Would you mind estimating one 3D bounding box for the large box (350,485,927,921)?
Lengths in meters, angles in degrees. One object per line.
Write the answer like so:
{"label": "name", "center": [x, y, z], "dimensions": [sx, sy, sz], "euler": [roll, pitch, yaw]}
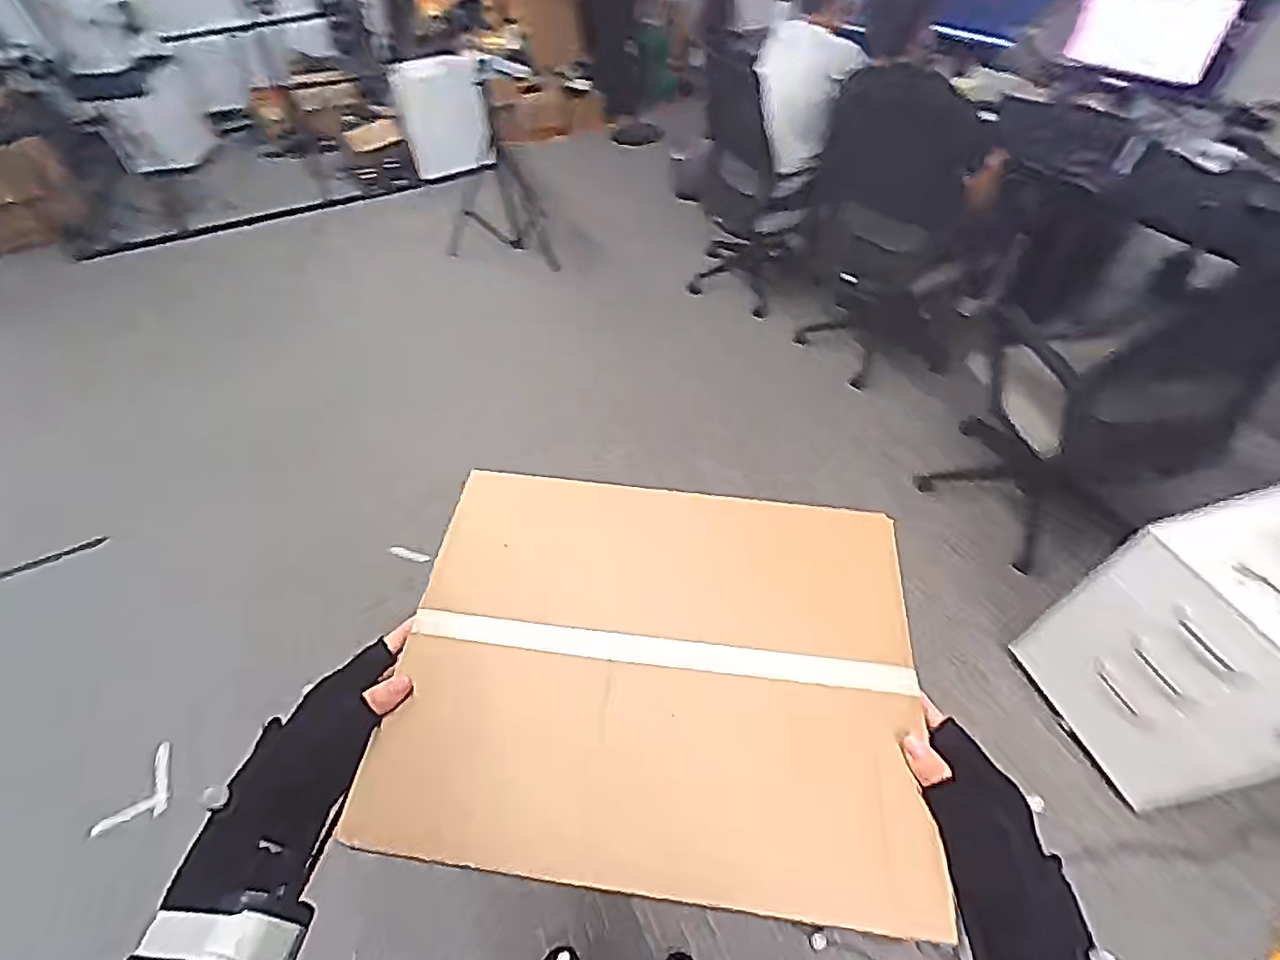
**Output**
{"label": "large box", "center": [0.010, 0.229, 0.571], "dimensions": [0.408, 0.320, 0.320], "euler": [5, 55, 4]}
